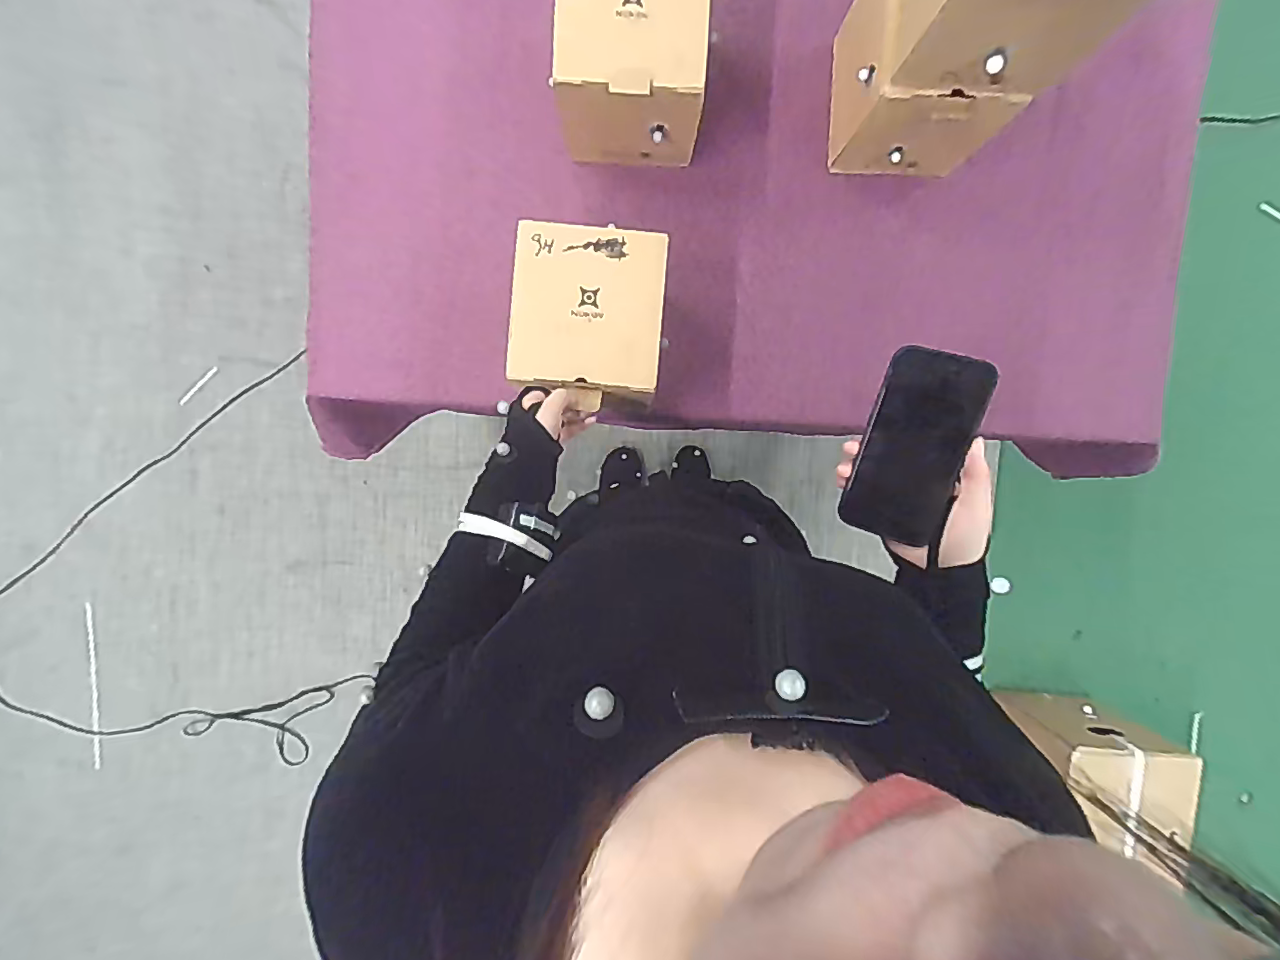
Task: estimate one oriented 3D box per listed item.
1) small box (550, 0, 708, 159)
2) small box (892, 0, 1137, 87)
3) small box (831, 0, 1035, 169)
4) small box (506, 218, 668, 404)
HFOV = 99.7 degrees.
[{"bbox_3d":[-0.010,-0.514,0.646,0.168,0.176,0.179,3,94,-2],"label":"small box"},{"bbox_3d":[0.348,-0.500,0.483,0.168,0.176,0.179,3,96,0],"label":"small box"},{"bbox_3d":[0.340,-0.507,0.648,0.168,0.176,0.179,1,95,0],"label":"small box"},{"bbox_3d":[-0.060,-0.192,0.664,0.168,0.176,0.179,5,91,-2],"label":"small box"}]
